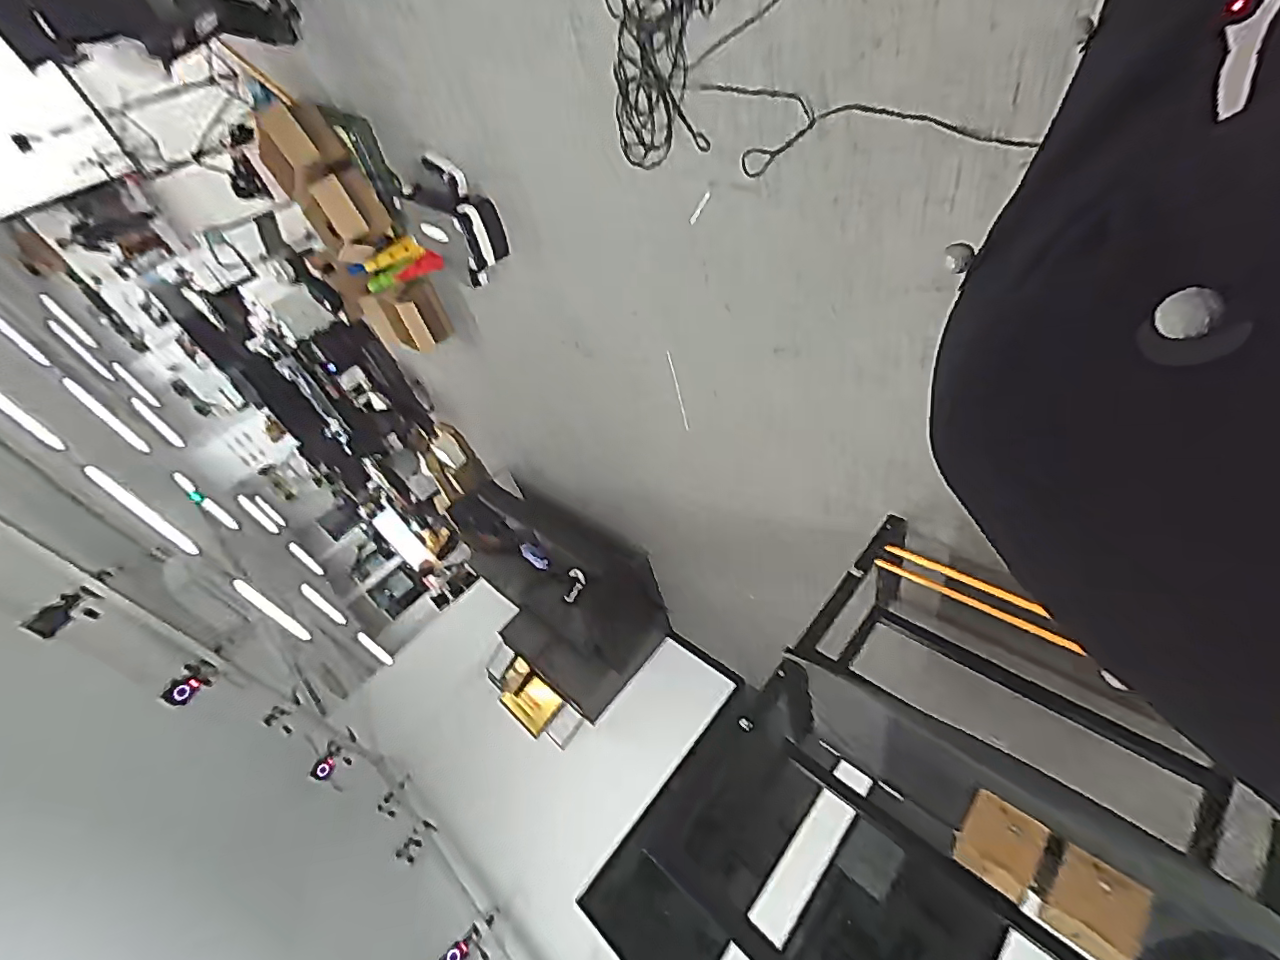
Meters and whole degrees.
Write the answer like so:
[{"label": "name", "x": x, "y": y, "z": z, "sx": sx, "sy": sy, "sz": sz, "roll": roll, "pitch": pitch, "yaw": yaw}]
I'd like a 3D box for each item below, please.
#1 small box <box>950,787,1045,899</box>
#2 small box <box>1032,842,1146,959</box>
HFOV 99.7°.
[{"label": "small box", "x": 0.977, "y": 0.989, "z": 1.481, "sx": 0.168, "sy": 0.176, "sz": 0.179, "roll": 23, "pitch": 147, "yaw": 40}, {"label": "small box", "x": 1.117, "y": 1.053, "z": 1.347, "sx": 0.168, "sy": 0.176, "sz": 0.179, "roll": 24, "pitch": 147, "yaw": 40}]
